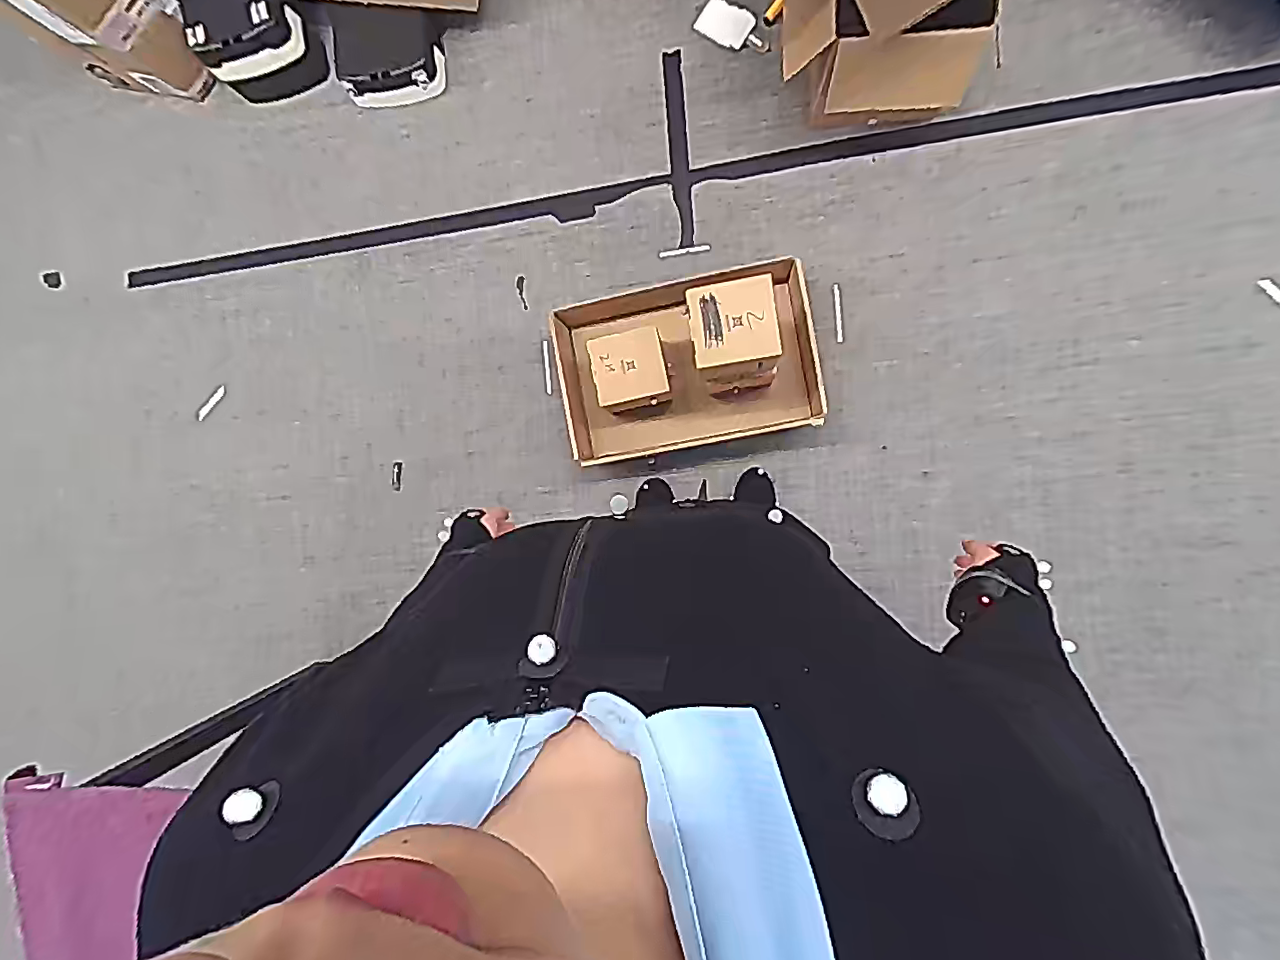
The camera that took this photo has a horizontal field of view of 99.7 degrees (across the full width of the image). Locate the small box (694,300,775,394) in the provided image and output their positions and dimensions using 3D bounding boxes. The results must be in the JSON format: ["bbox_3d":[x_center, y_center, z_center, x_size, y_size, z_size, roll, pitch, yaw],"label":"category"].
[{"bbox_3d":[0.229,-0.321,1.335,0.168,0.176,0.179,-10,91,9],"label":"small box"}]

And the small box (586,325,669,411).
[{"bbox_3d":[-0.025,-0.276,1.368,0.179,0.176,0.168,-12,90,7],"label":"small box"}]
